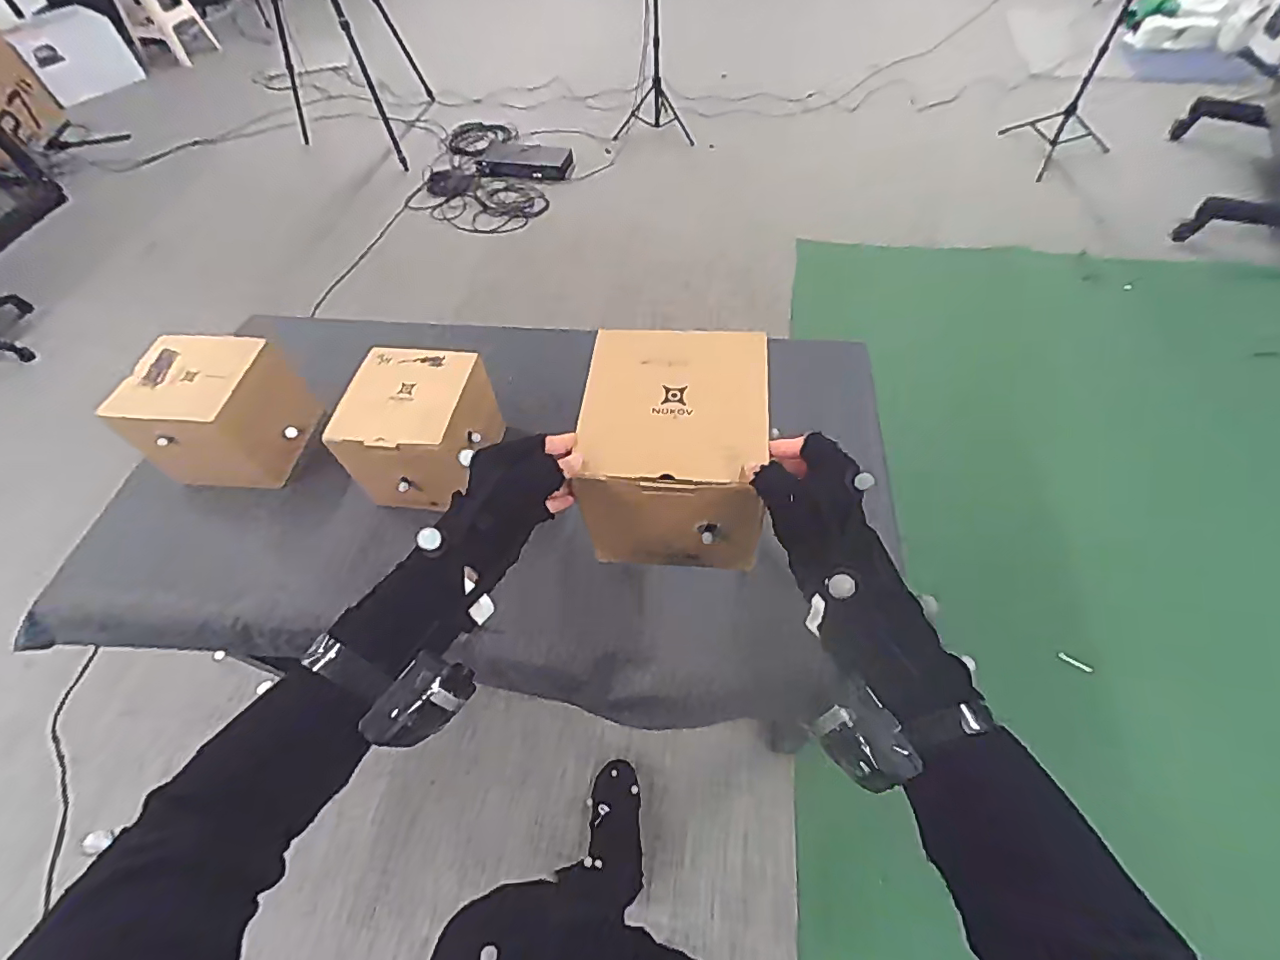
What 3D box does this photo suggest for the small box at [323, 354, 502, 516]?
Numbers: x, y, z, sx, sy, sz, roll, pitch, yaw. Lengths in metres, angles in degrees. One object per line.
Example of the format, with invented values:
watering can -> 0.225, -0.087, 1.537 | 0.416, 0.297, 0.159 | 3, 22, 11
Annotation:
small box -> -0.321, -0.063, 0.808 | 0.168, 0.176, 0.179 | 5, 56, 6

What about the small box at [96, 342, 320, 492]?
small box -> -0.649, -0.094, 0.841 | 0.179, 0.176, 0.168 | 3, 56, 3

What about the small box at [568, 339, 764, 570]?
small box -> 0.034, -0.022, 0.552 | 0.168, 0.176, 0.179 | 3, 56, 6
